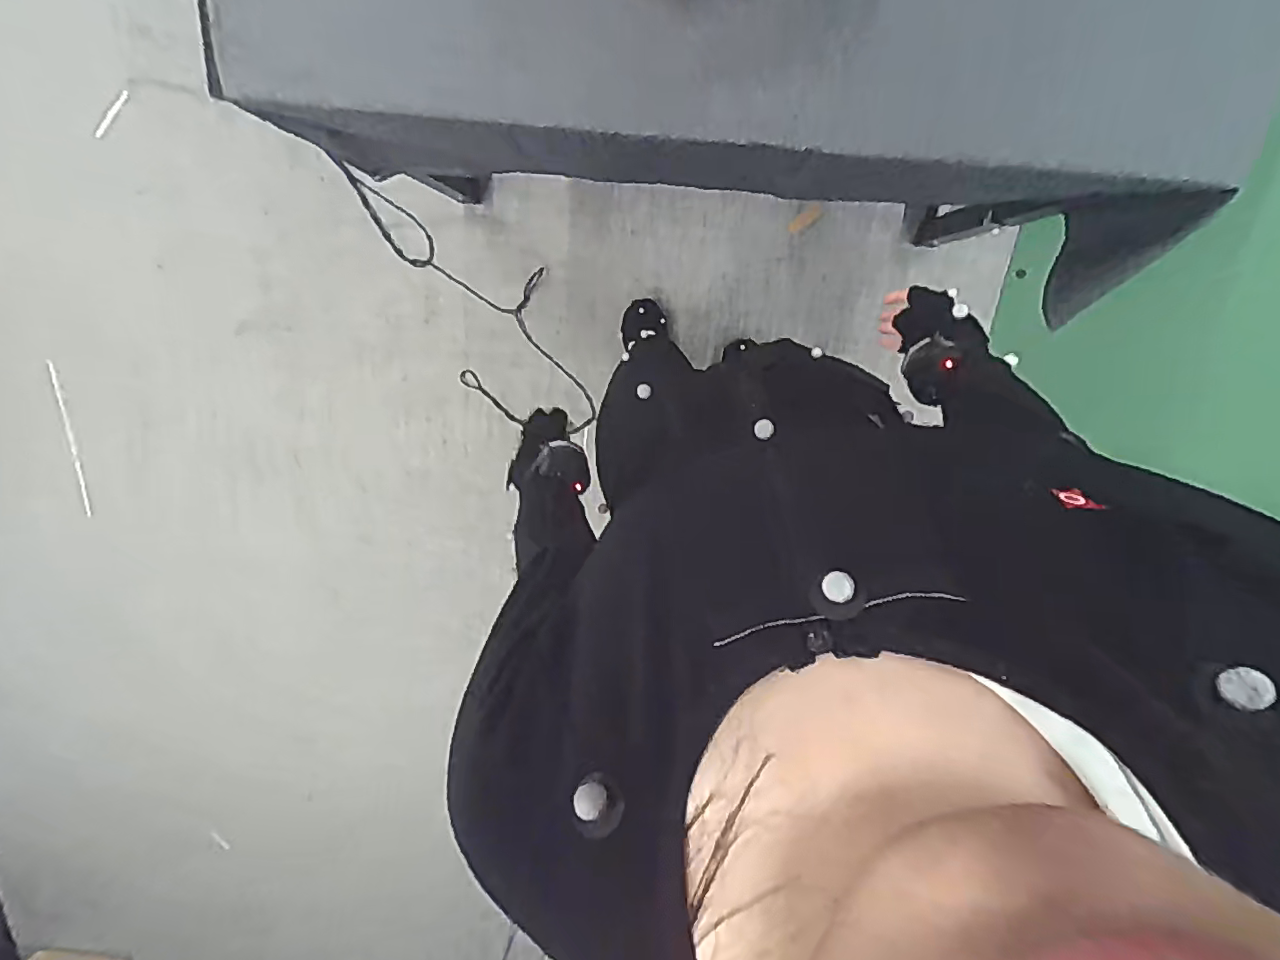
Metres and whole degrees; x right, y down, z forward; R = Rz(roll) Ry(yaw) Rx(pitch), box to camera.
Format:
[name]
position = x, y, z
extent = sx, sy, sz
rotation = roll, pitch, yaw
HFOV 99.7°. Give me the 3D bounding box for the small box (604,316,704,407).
[small box]
position = 0.030, -0.300, 1.352
extent = 0.179, 0.176, 0.168
rotation = 34, 116, 13
